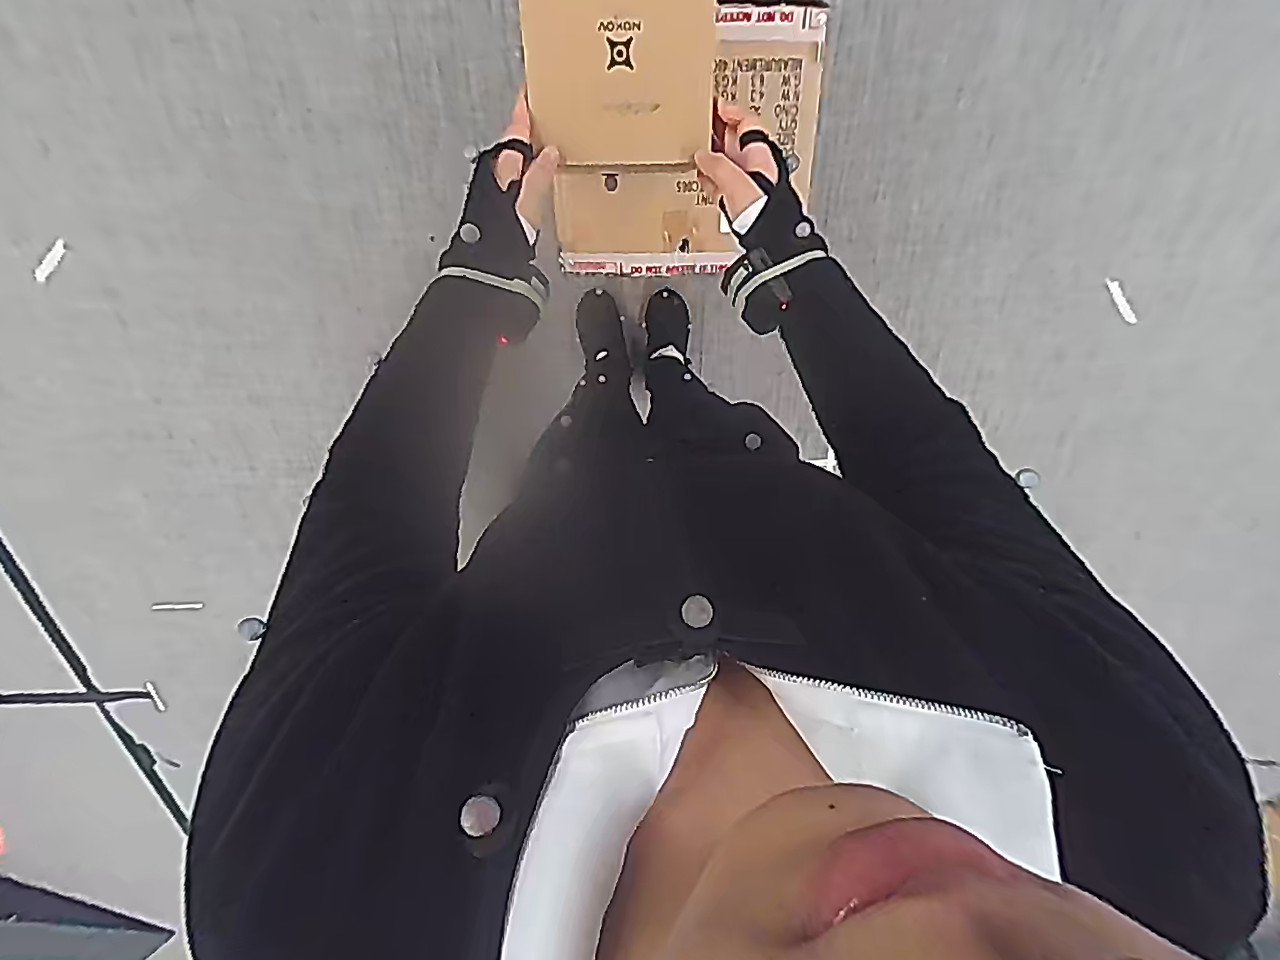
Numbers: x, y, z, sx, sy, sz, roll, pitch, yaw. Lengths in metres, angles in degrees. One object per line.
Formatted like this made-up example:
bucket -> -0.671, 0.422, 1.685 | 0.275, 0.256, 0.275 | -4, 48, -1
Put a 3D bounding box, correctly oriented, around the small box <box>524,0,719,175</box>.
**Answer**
small box -> -0.018, -0.406, 0.534 | 0.168, 0.176, 0.179 | -2, 119, 0
